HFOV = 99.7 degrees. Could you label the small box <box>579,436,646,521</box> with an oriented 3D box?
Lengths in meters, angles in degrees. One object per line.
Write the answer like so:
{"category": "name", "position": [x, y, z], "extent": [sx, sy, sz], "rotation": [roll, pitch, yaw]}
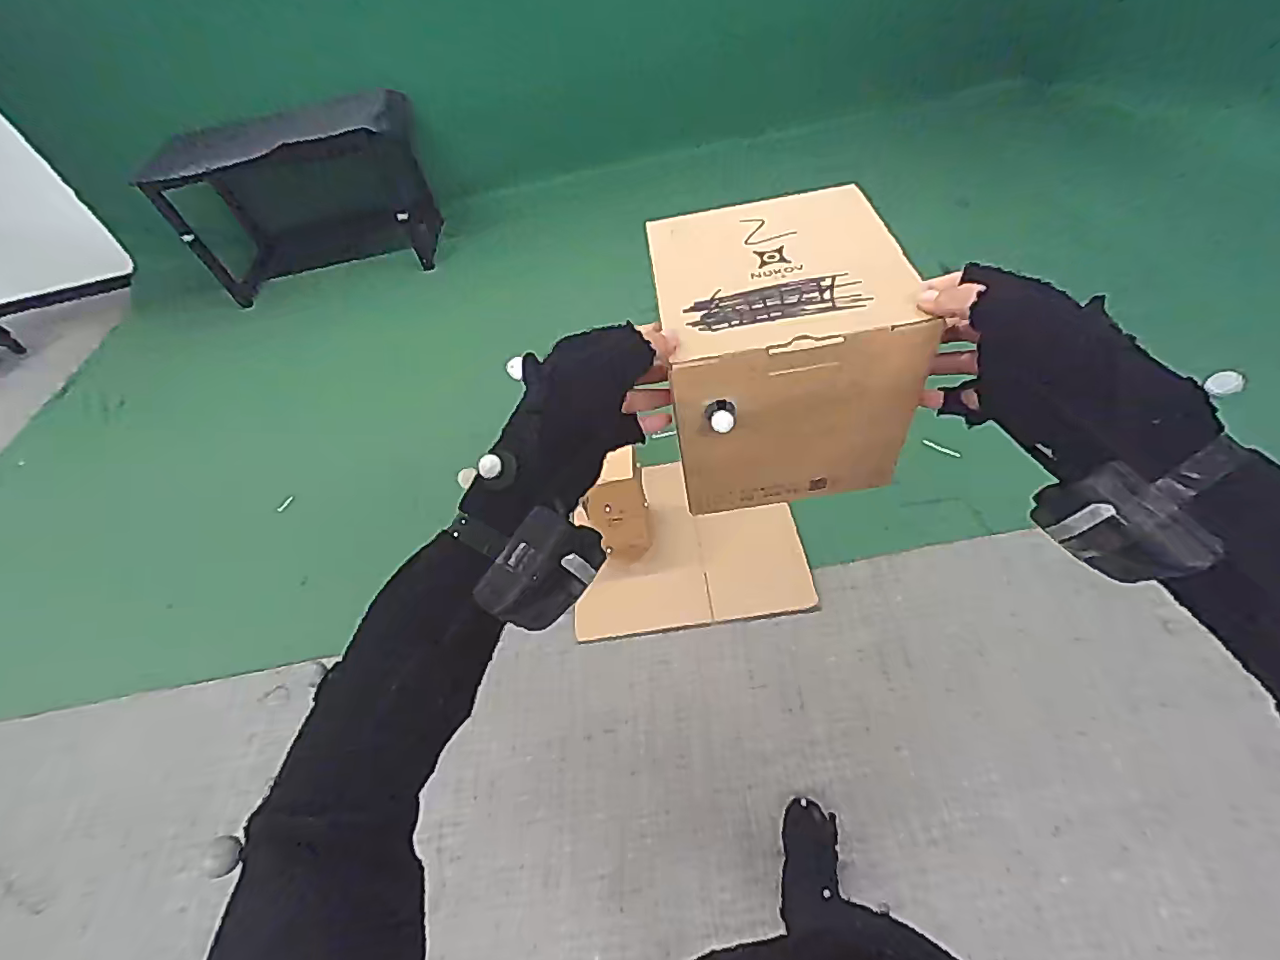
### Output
{"category": "small box", "position": [-0.076, -0.003, 1.579], "extent": [0.168, 0.176, 0.179], "rotation": [-8, 50, 6]}

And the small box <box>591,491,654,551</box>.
{"category": "small box", "position": [-0.053, 0.110, 1.694], "extent": [0.168, 0.176, 0.179], "rotation": [-9, 48, 6]}
